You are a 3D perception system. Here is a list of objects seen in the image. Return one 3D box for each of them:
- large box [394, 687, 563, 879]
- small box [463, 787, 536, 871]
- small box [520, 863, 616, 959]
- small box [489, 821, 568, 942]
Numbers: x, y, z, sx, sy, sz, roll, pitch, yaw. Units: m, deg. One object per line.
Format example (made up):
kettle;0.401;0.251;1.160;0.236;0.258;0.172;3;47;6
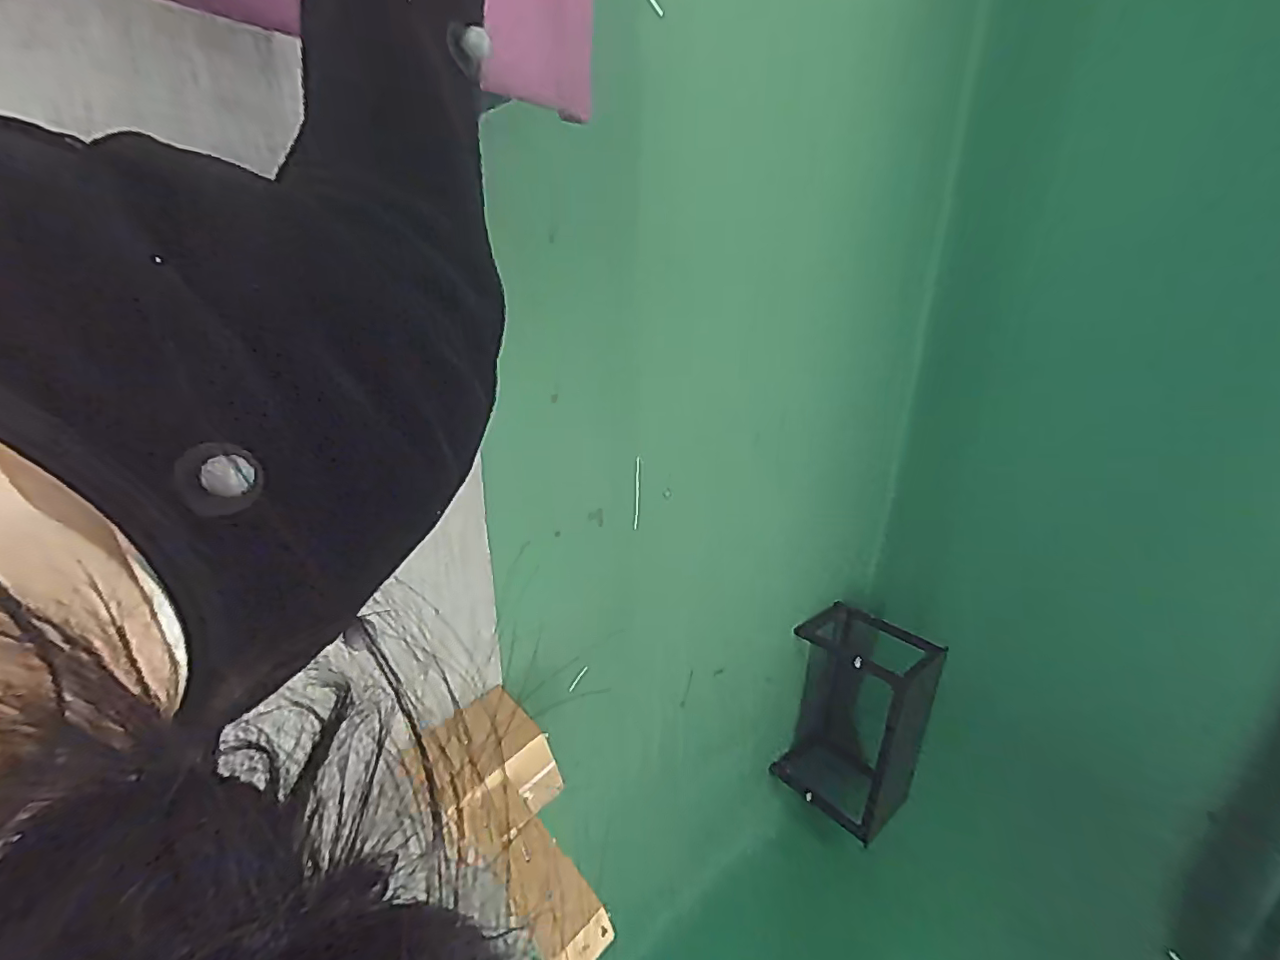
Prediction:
large box;-0.540;1.003;1.835;0.408;0.320;0.320;-32;126;-33
small box;-0.411;1.073;1.636;0.168;0.176;0.179;-30;124;-32
small box;-0.192;1.164;1.408;0.179;0.176;0.168;-30;124;-31
small box;-0.304;1.120;1.521;0.179;0.176;0.168;-31;124;-32
